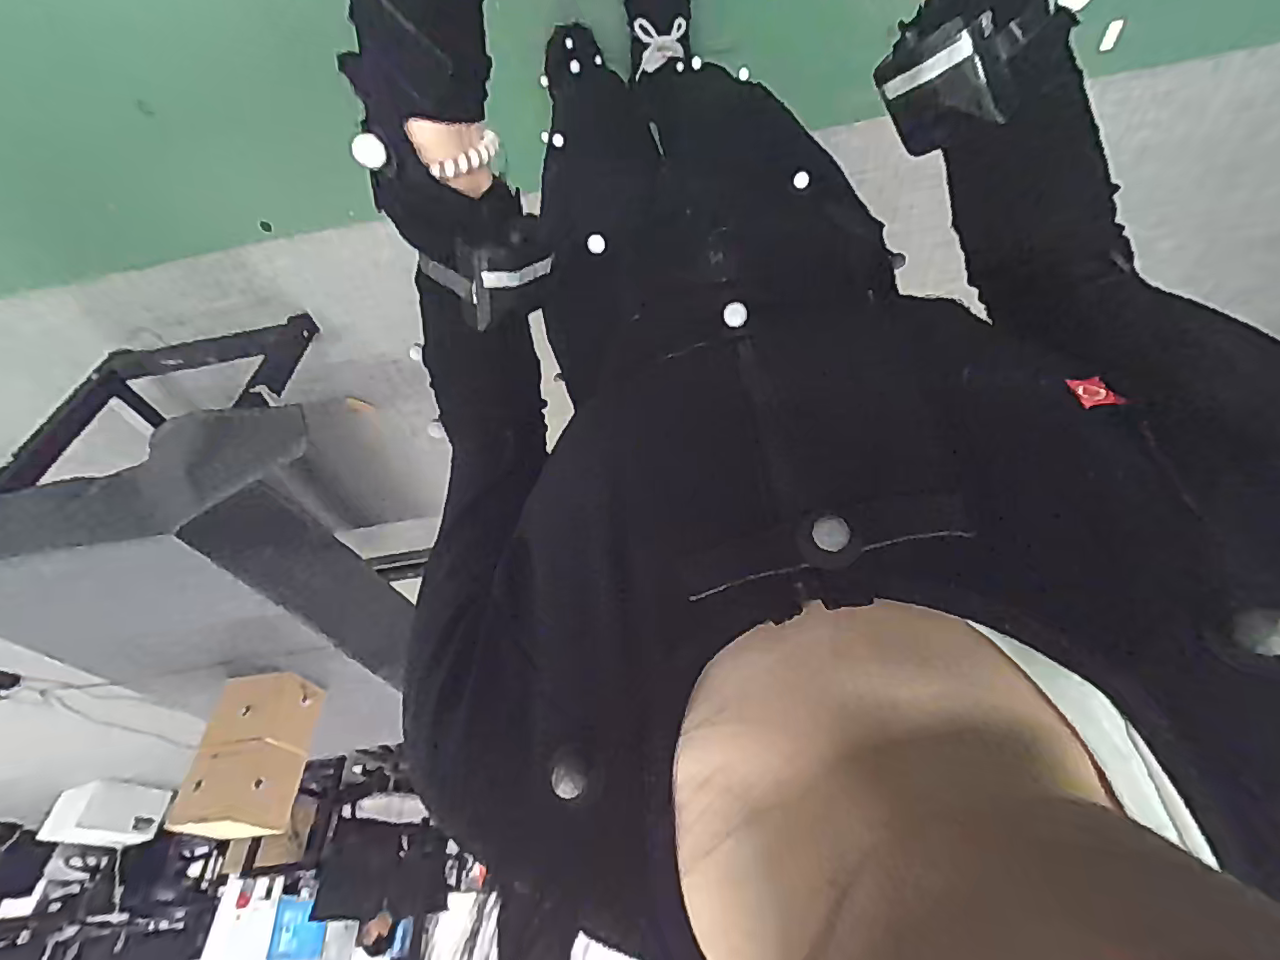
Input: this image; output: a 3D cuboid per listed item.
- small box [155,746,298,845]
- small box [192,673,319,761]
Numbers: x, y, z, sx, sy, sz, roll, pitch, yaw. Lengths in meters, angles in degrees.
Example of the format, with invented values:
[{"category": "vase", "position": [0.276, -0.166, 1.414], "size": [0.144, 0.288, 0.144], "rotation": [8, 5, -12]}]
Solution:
[{"category": "small box", "position": [-0.948, 0.731, 1.259], "size": [0.168, 0.176, 0.179], "rotation": [-9, 138, 6]}, {"category": "small box", "position": [-0.957, 0.607, 1.365], "size": [0.179, 0.176, 0.168], "rotation": [-9, 138, 3]}]
